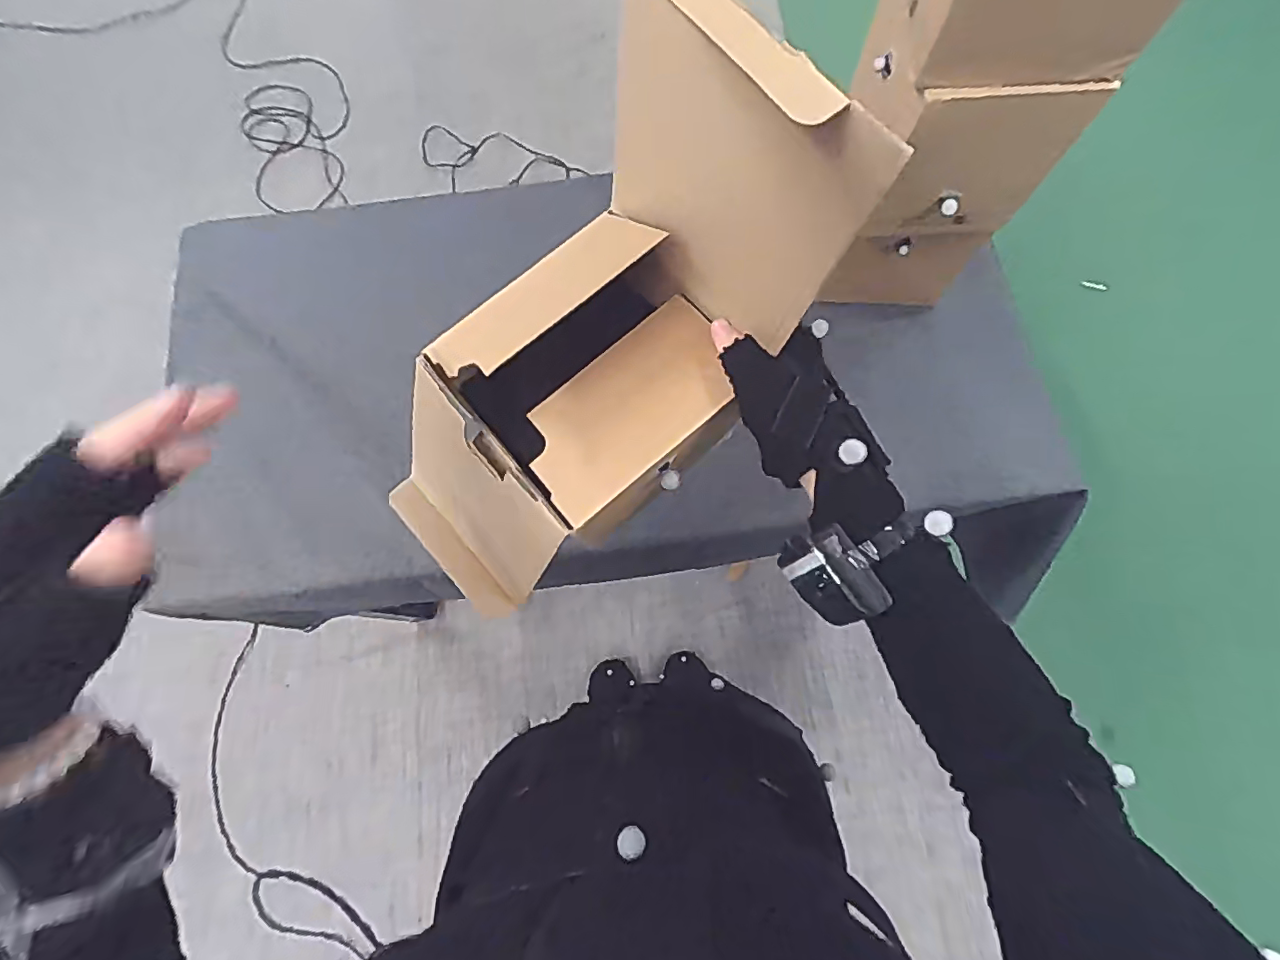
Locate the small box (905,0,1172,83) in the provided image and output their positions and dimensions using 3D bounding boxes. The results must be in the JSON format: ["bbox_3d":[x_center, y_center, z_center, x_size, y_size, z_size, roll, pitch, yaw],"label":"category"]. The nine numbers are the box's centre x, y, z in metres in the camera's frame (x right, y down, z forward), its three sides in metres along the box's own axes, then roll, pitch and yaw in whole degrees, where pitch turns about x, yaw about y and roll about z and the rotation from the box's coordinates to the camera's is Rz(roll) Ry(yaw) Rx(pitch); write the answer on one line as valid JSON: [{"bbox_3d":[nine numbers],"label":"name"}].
[{"bbox_3d":[0.315,-0.435,0.405,0.179,0.176,0.168,0,74,3],"label":"small box"}]

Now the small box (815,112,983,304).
[{"bbox_3d":[0.339,-0.355,0.722,0.179,0.176,0.168,4,73,3],"label":"small box"}]

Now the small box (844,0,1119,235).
[{"bbox_3d":[0.326,-0.386,0.560,0.168,0.176,0.179,-2,74,2],"label":"small box"}]
